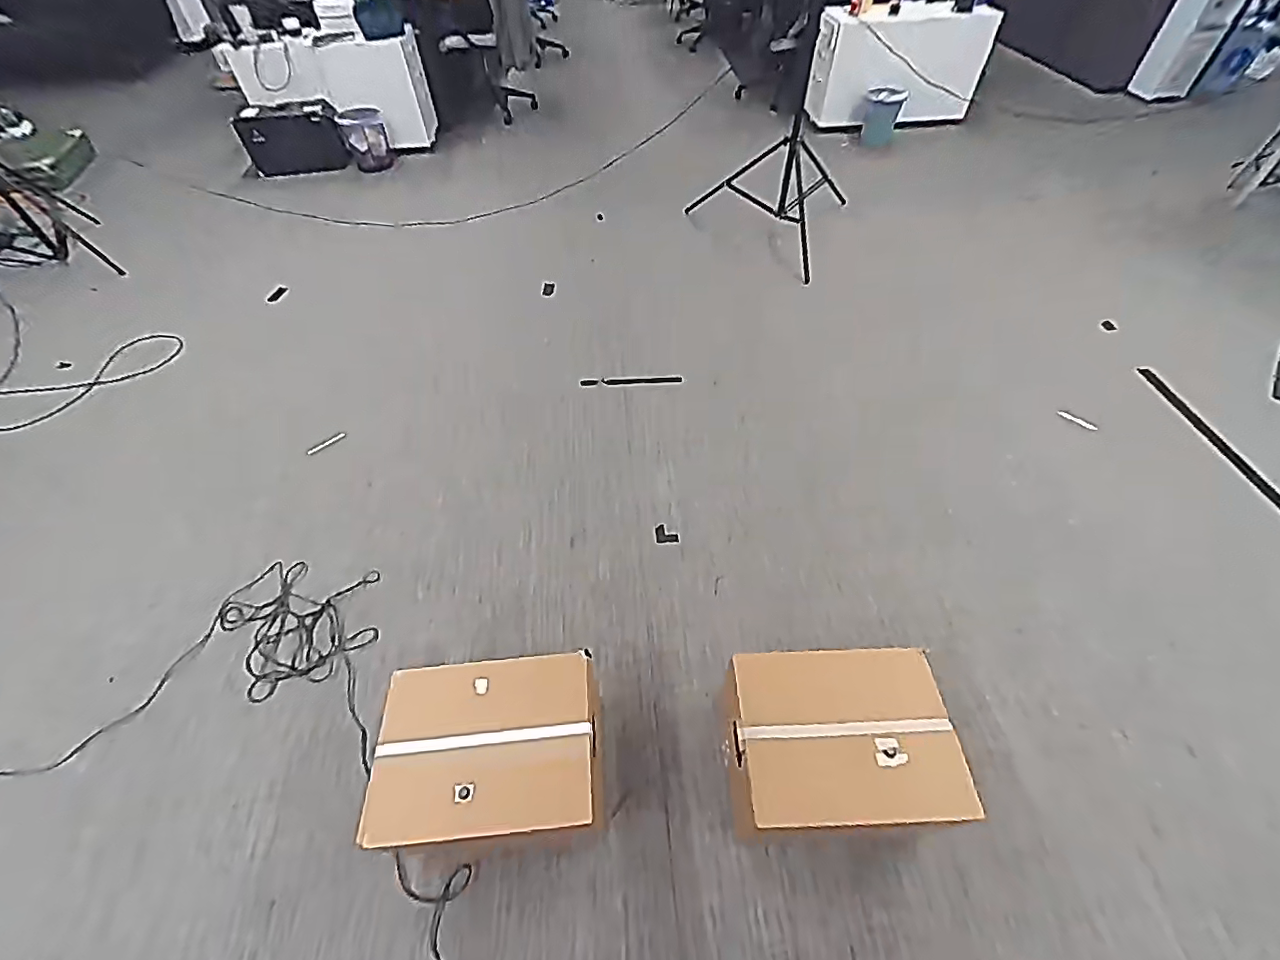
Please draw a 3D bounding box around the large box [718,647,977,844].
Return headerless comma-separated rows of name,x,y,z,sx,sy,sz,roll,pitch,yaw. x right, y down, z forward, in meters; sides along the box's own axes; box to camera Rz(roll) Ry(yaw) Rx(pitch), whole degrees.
large box,0.399,0.574,1.164,0.408,0.320,0.320,-1,51,-1
